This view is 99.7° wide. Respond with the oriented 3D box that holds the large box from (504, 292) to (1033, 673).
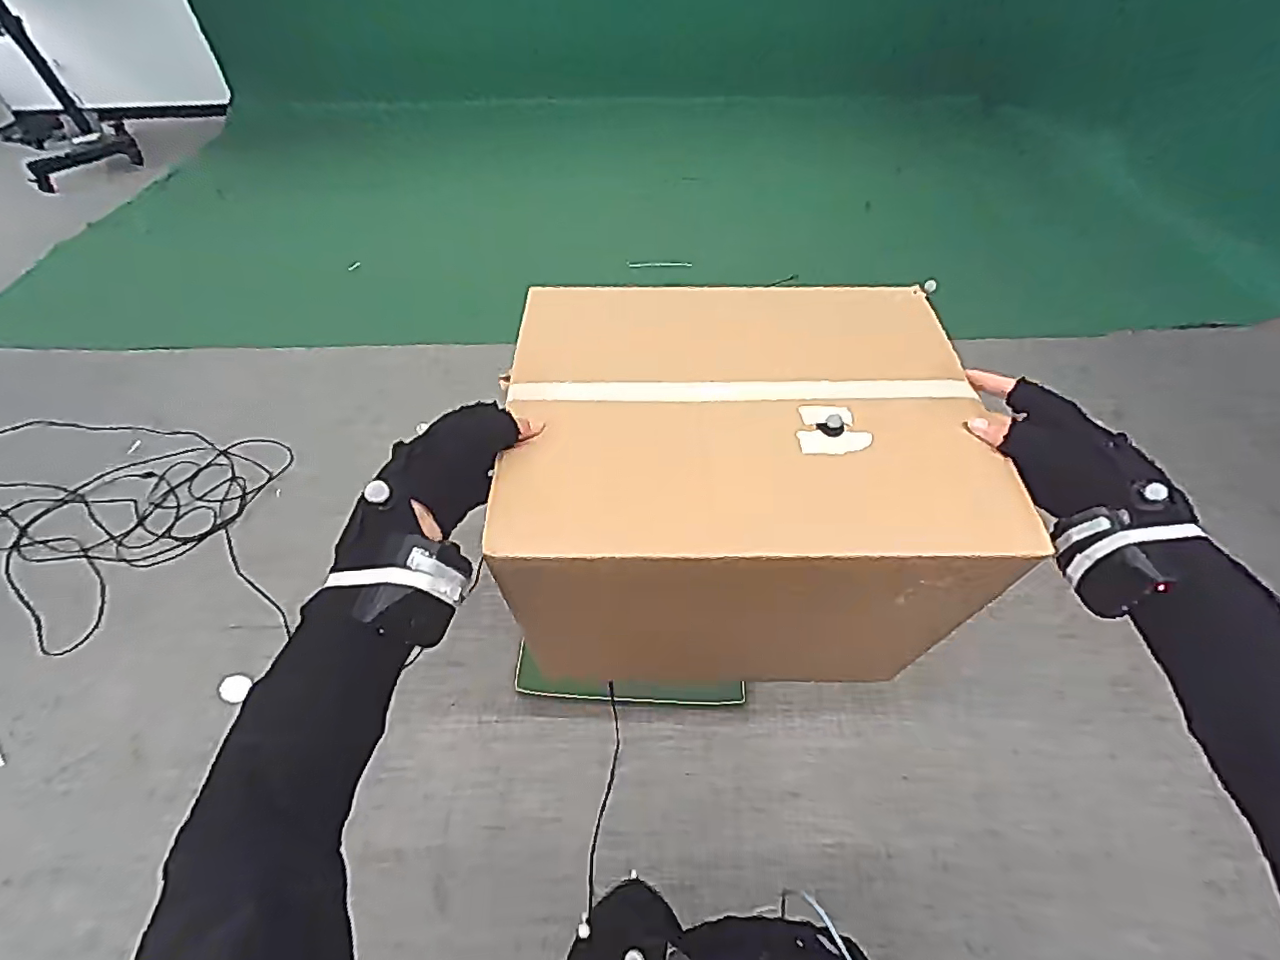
[{"bbox_3d":[0.090,0.012,0.602,0.408,0.320,0.320,0,55,-1],"label":"large box"}]
